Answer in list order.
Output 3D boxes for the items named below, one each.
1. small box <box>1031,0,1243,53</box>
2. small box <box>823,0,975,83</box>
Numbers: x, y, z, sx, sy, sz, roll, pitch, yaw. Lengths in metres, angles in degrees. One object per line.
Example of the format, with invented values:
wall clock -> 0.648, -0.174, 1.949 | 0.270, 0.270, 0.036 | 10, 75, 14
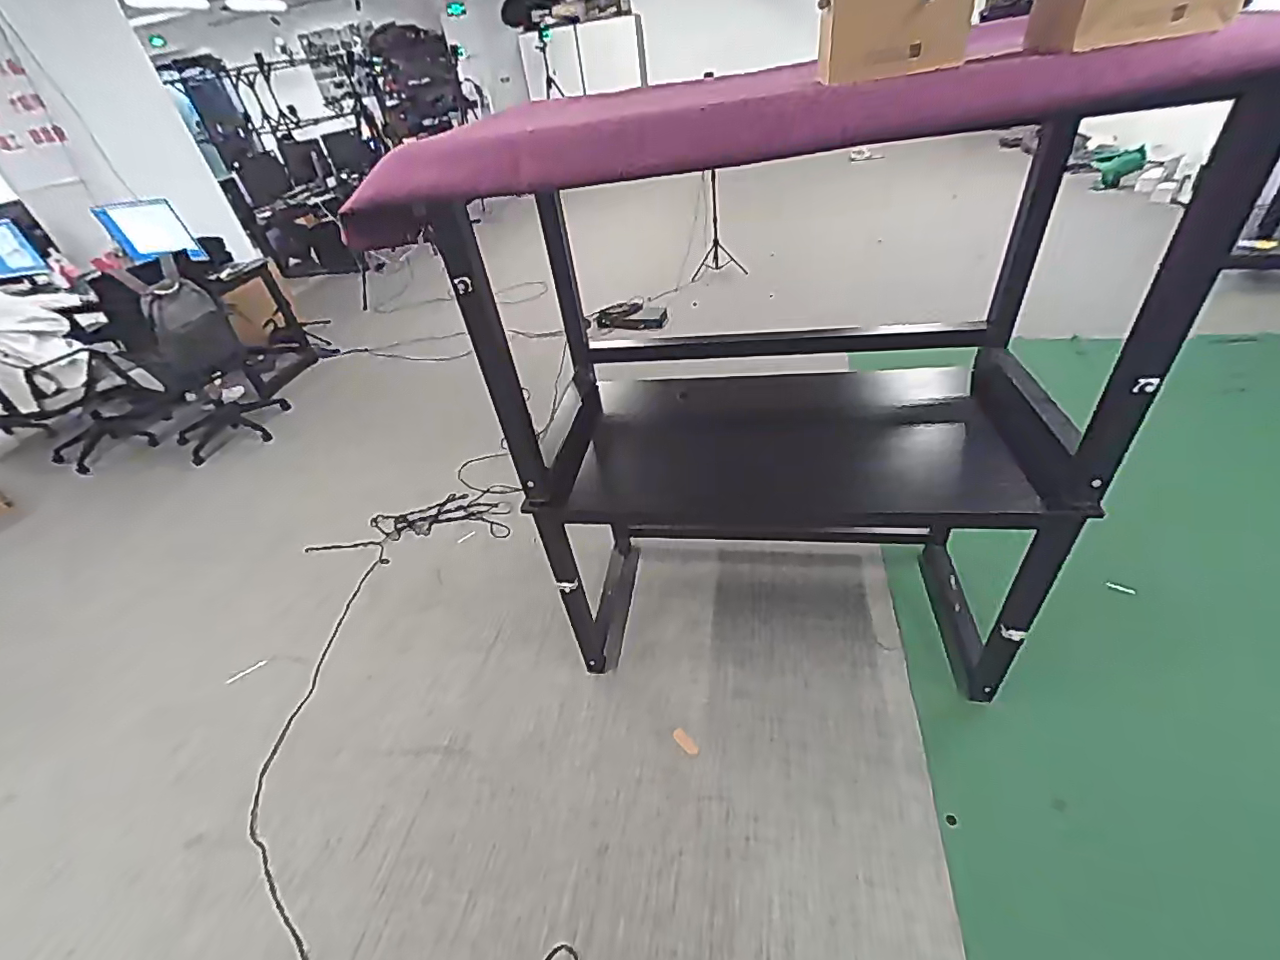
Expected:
small box -> 0.616, -0.638, 0.656 | 0.168, 0.176, 0.179 | 0, 39, 13
small box -> 0.342, -0.644, 0.722 | 0.168, 0.176, 0.179 | 1, 38, 12
